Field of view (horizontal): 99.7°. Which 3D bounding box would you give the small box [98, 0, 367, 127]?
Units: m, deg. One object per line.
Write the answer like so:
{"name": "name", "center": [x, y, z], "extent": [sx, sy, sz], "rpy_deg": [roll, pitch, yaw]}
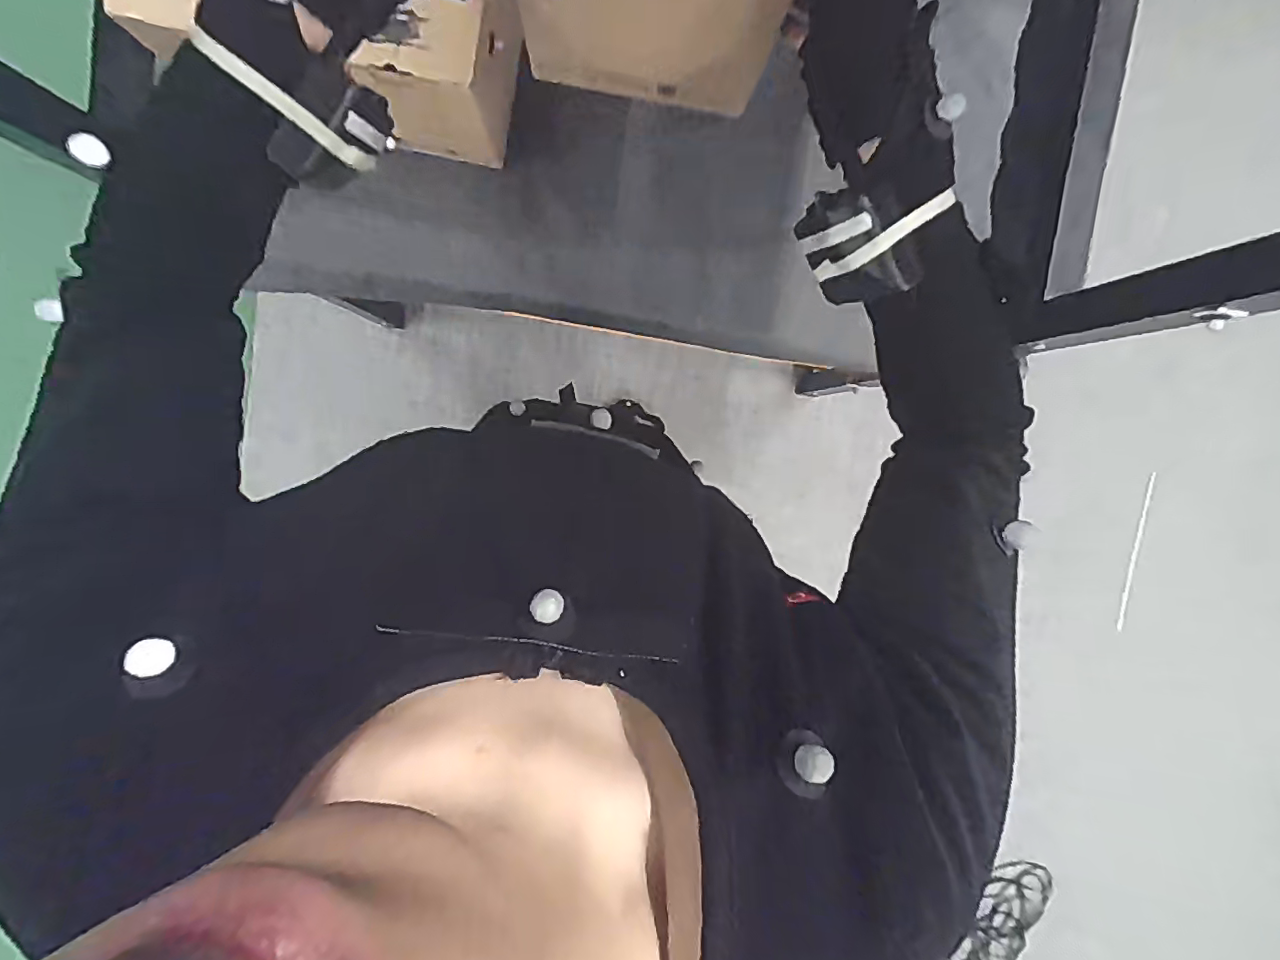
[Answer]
{"name": "small box", "center": [-0.418, -0.524, 0.581], "extent": [0.168, 0.176, 0.179], "rpy_deg": [11, 95, -6]}
